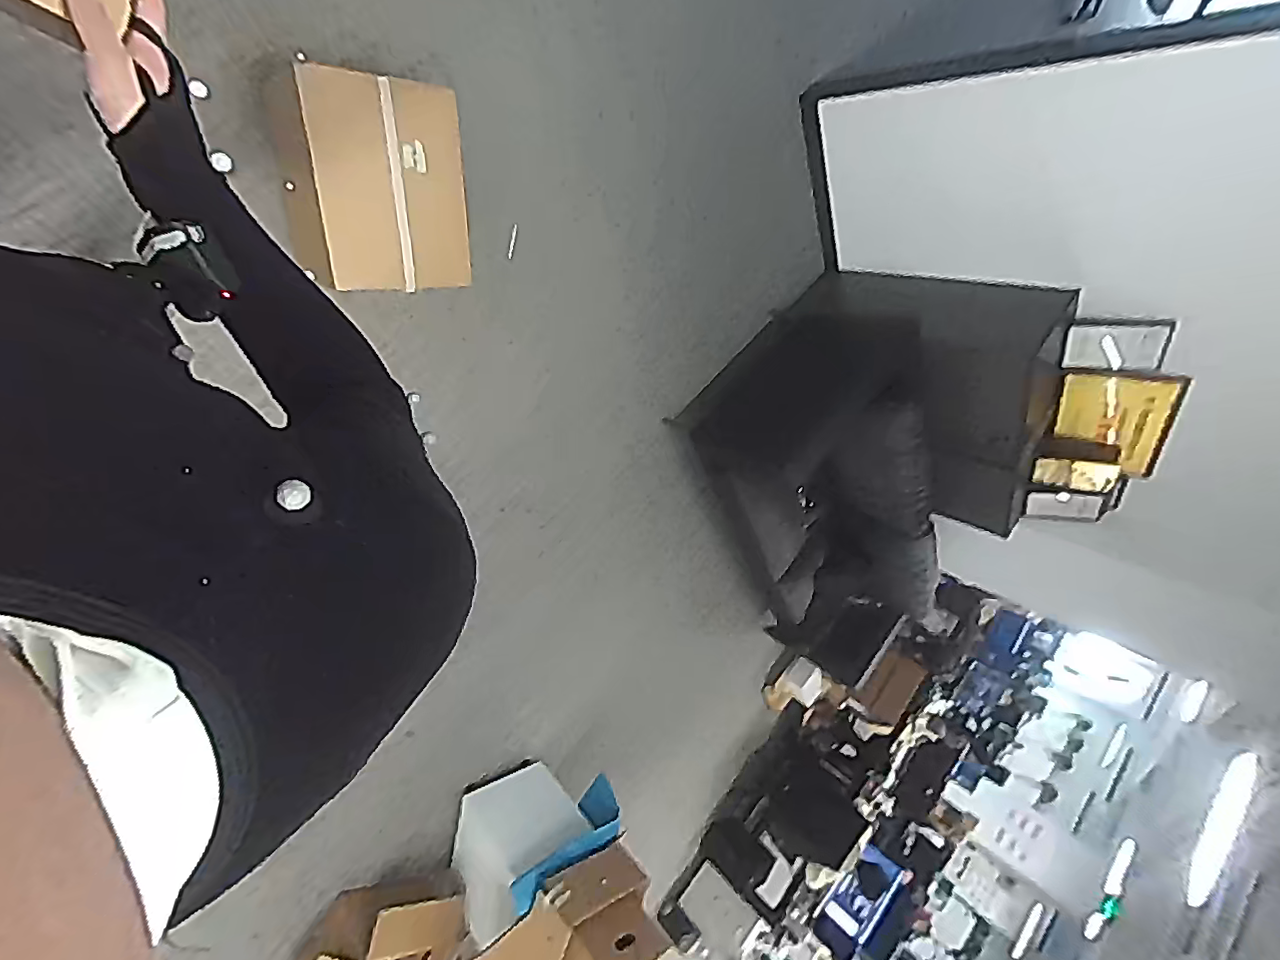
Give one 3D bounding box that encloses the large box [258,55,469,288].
[{"bbox_3d":[-0.626,-0.673,1.246,0.320,0.320,0.408,-20,123,-39],"label":"large box"}]
